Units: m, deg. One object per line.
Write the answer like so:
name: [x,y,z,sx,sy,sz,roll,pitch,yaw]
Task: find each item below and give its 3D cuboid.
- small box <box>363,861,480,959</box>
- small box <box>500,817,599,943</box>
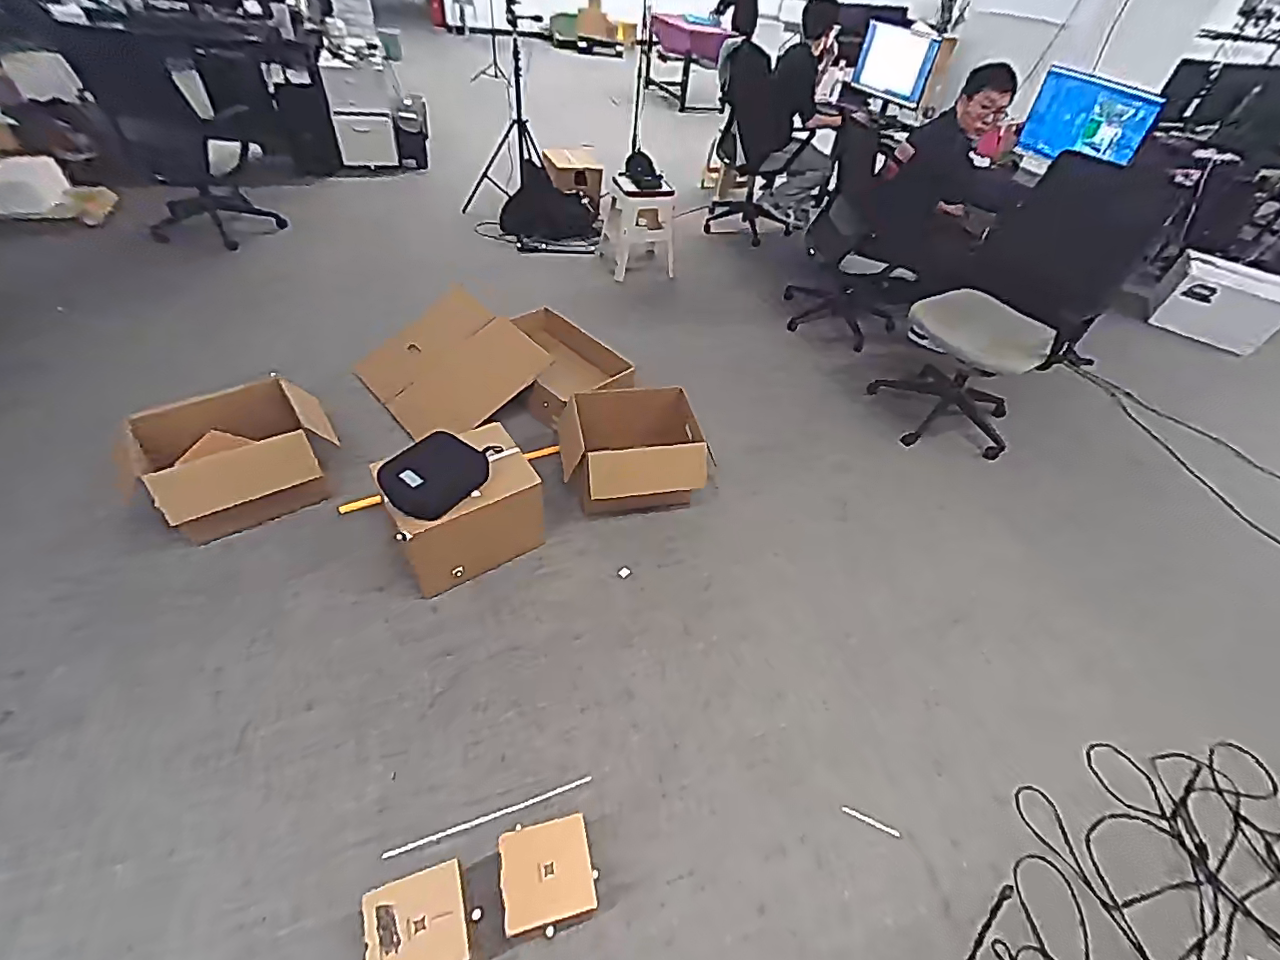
small box: [-0.417,0.876,1.042,0.179,0.176,0.168,-11,48,-18]
small box: [-0.188,0.828,1.119,0.179,0.176,0.168,-8,48,-13]
